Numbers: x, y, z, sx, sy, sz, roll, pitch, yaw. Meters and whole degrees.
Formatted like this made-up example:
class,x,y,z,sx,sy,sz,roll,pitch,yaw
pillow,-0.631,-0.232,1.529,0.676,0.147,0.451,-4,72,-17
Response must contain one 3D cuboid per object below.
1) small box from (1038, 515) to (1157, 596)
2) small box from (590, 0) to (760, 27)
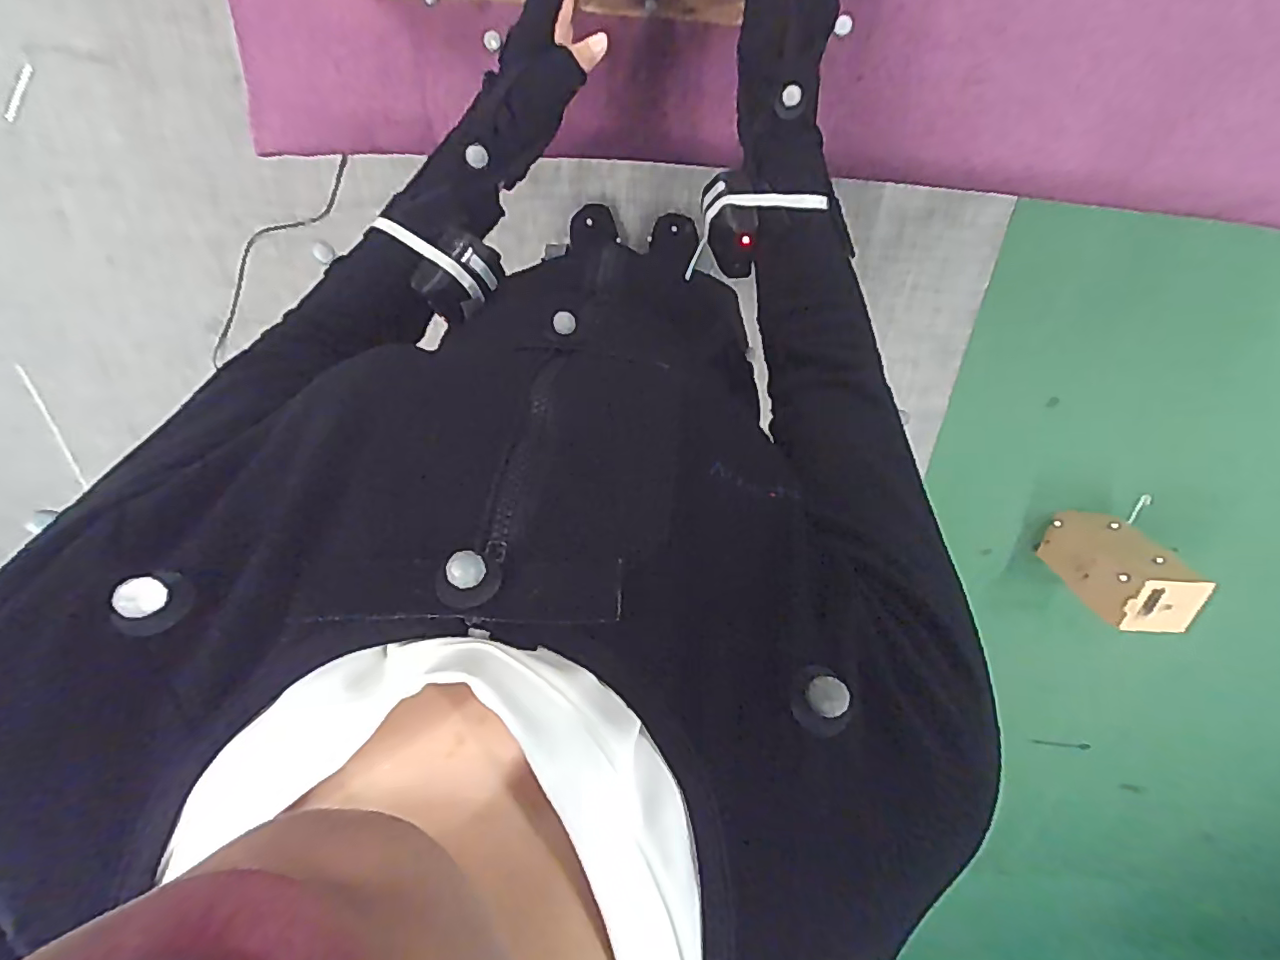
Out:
class,x,y,z,sx,sy,sz,roll,pitch,yaw
small box,1.321,0.216,1.577,0.179,0.176,0.168,4,118,-1
small box,0.030,-0.490,0.418,0.168,0.176,0.179,4,118,-1
